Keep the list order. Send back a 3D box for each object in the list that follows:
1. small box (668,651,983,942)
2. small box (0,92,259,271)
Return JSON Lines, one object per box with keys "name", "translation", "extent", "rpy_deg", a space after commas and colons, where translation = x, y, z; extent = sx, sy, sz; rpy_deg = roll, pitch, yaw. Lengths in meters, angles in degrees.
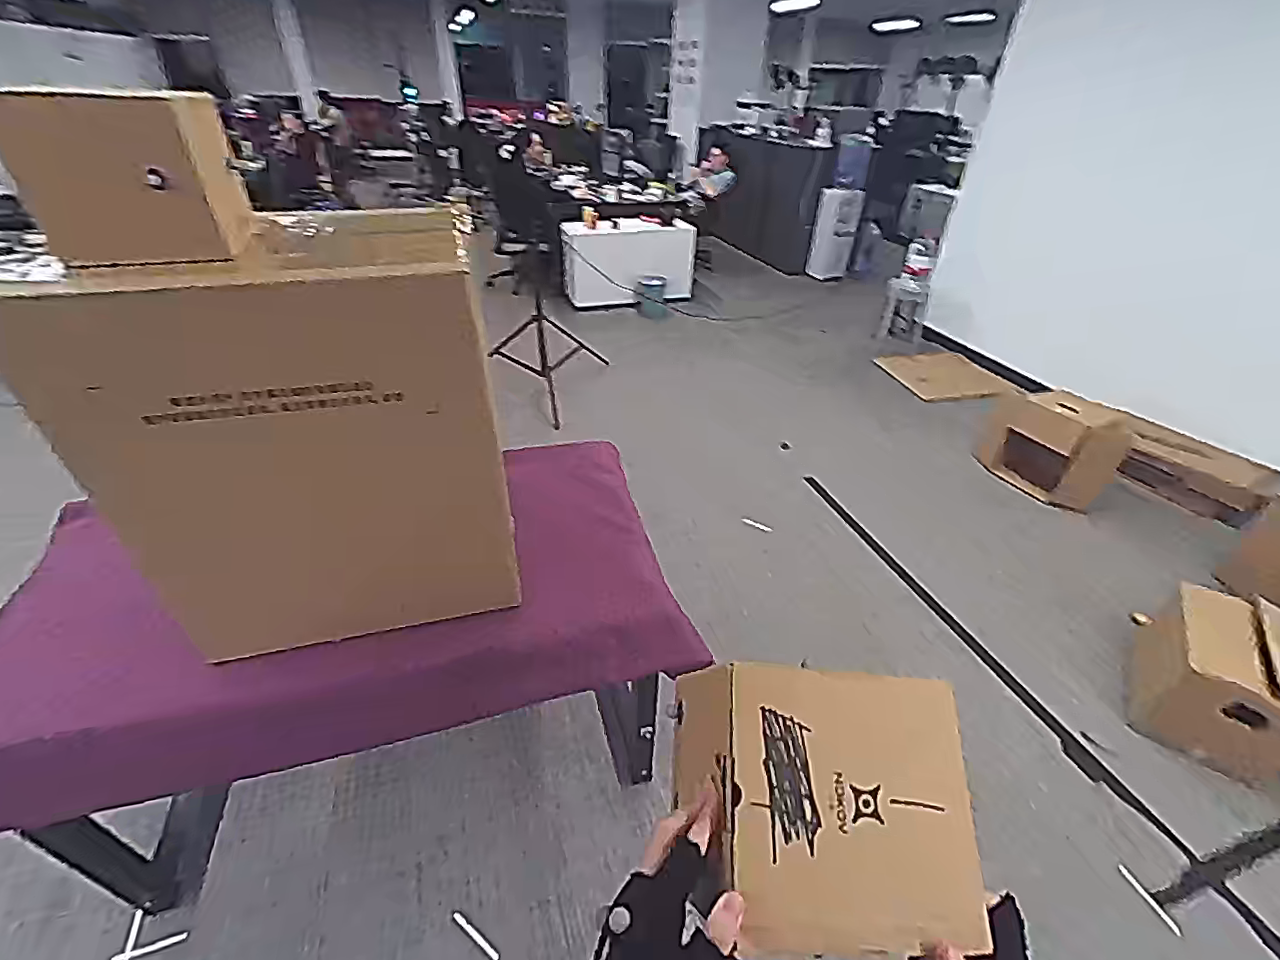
{"name": "small box", "translation": [0.124, 0.239, 0.436], "extent": [0.179, 0.176, 0.168], "rpy_deg": [7, 66, -8]}
{"name": "small box", "translation": [-0.604, -0.365, 0.660], "extent": [0.179, 0.176, 0.168], "rpy_deg": [-11, 38, -16]}
